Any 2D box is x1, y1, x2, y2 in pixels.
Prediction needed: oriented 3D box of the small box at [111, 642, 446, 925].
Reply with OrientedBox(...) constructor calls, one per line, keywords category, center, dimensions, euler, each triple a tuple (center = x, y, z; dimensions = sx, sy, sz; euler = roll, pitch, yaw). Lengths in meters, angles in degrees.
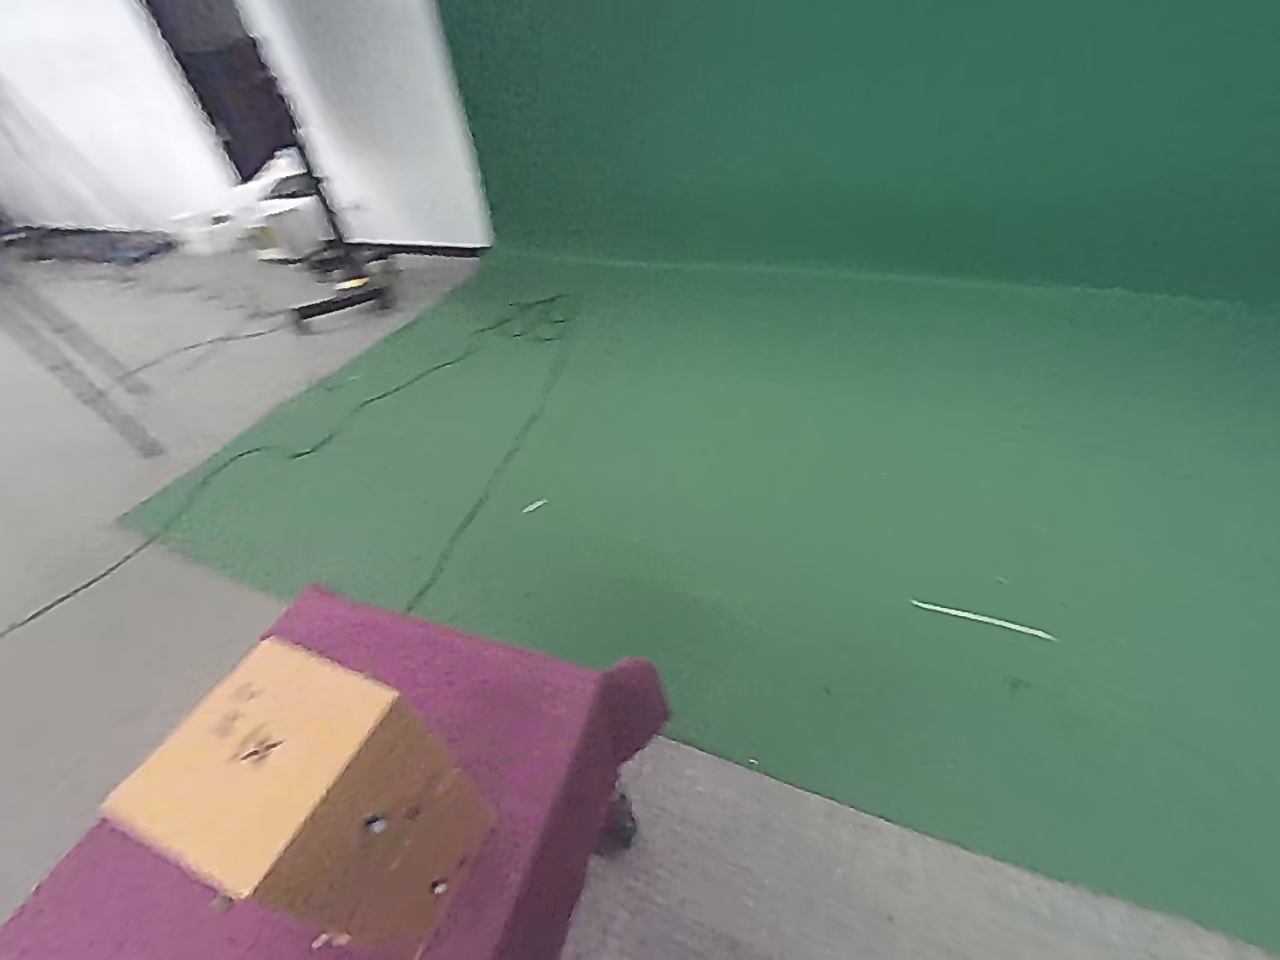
OrientedBox(category="small box", center=(-0.322, 0.292, 0.523), dimensions=(0.179, 0.176, 0.168), euler=(11, 44, 20))
